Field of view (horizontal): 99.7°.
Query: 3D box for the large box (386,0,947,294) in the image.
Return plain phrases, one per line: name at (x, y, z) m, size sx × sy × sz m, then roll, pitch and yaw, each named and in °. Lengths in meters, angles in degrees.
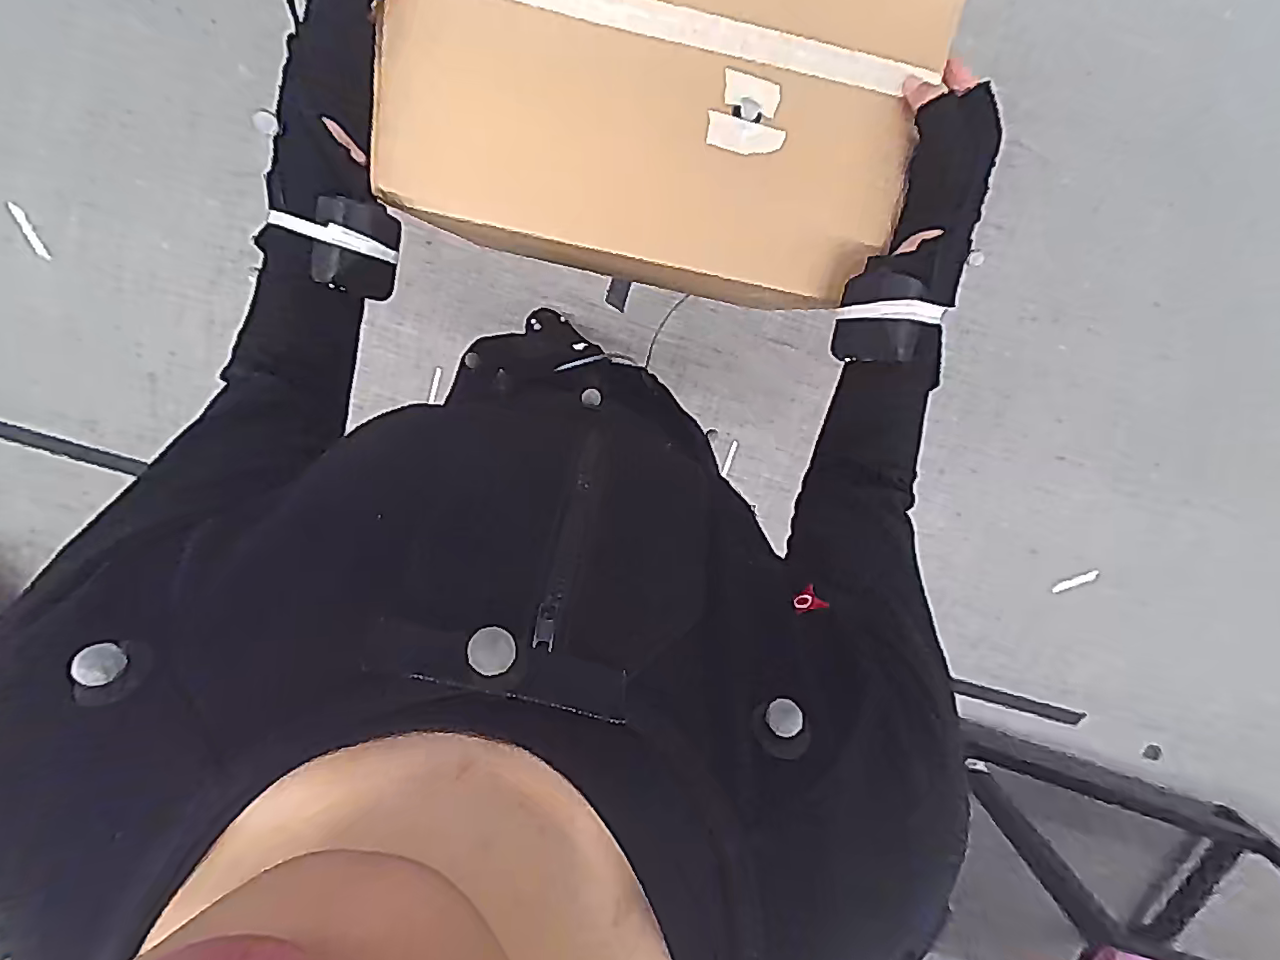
large box at (0.013, -0.381, 0.536) m, size 0.408 × 0.320 × 0.320 m, roll 9°, pitch 108°, yaw -6°
